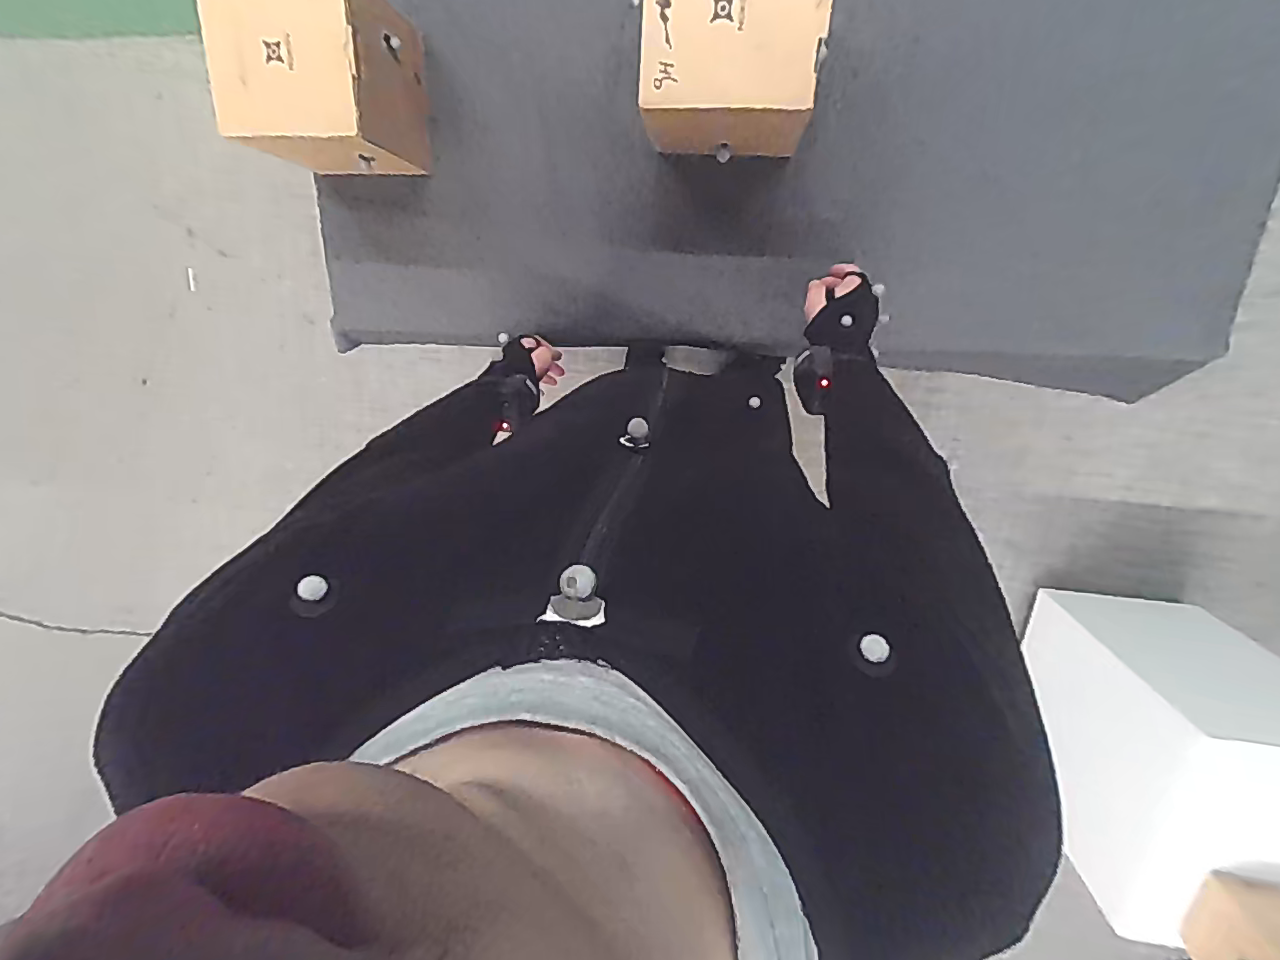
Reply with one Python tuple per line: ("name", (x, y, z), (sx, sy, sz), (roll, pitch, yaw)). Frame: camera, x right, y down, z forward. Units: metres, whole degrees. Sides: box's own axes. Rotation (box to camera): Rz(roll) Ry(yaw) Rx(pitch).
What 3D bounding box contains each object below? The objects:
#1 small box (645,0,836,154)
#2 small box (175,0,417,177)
("small box", (0.101, -0.467, 0.580), (0.179, 0.176, 0.168), (4, 107, 4))
("small box", (-0.378, -0.466, 0.629), (0.179, 0.176, 0.168), (2, 105, 6))
